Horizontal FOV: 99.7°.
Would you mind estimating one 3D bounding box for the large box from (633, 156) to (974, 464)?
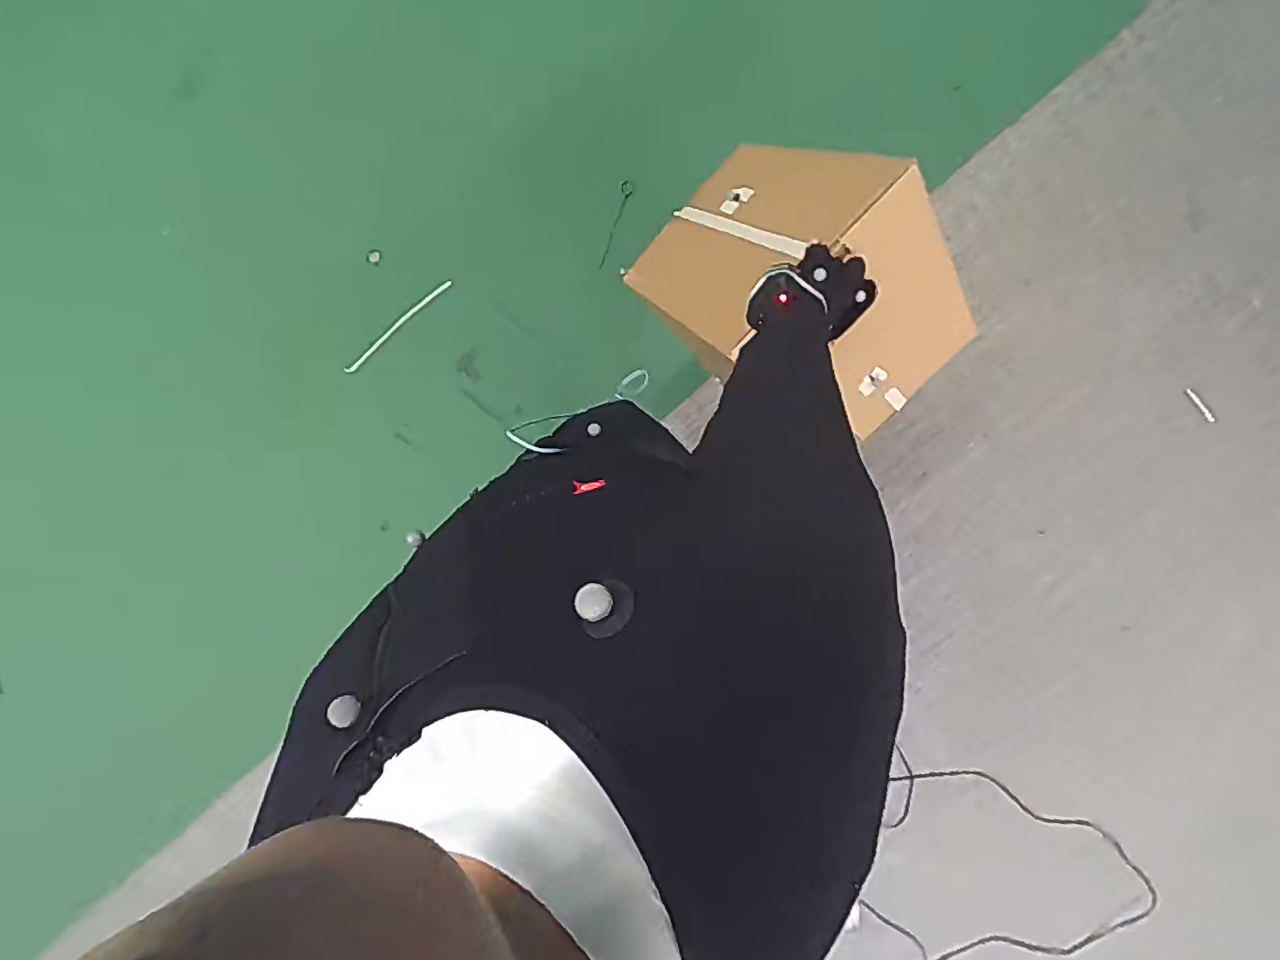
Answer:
[{"bbox_3d":[0.255,-0.297,0.920,0.320,0.408,0.320,-44,128,8],"label":"large box"}]
